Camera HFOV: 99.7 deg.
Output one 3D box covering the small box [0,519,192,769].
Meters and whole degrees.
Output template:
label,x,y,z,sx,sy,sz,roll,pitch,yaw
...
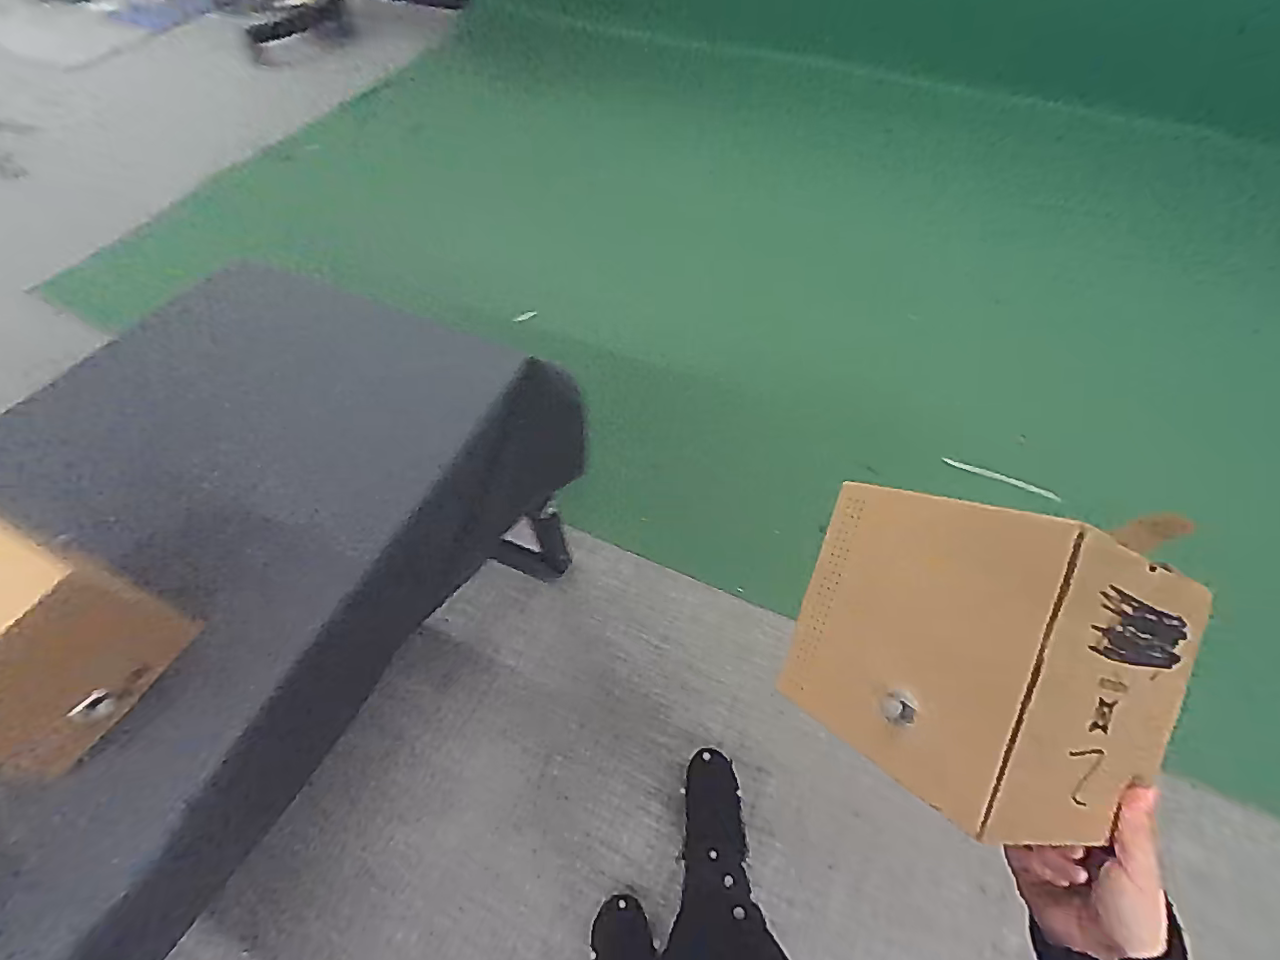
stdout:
label,x,y,z,sx,sy,sz,roll,pitch,yaw
small box,-0.592,0.148,0.502,0.179,0.176,0.168,22,60,12
